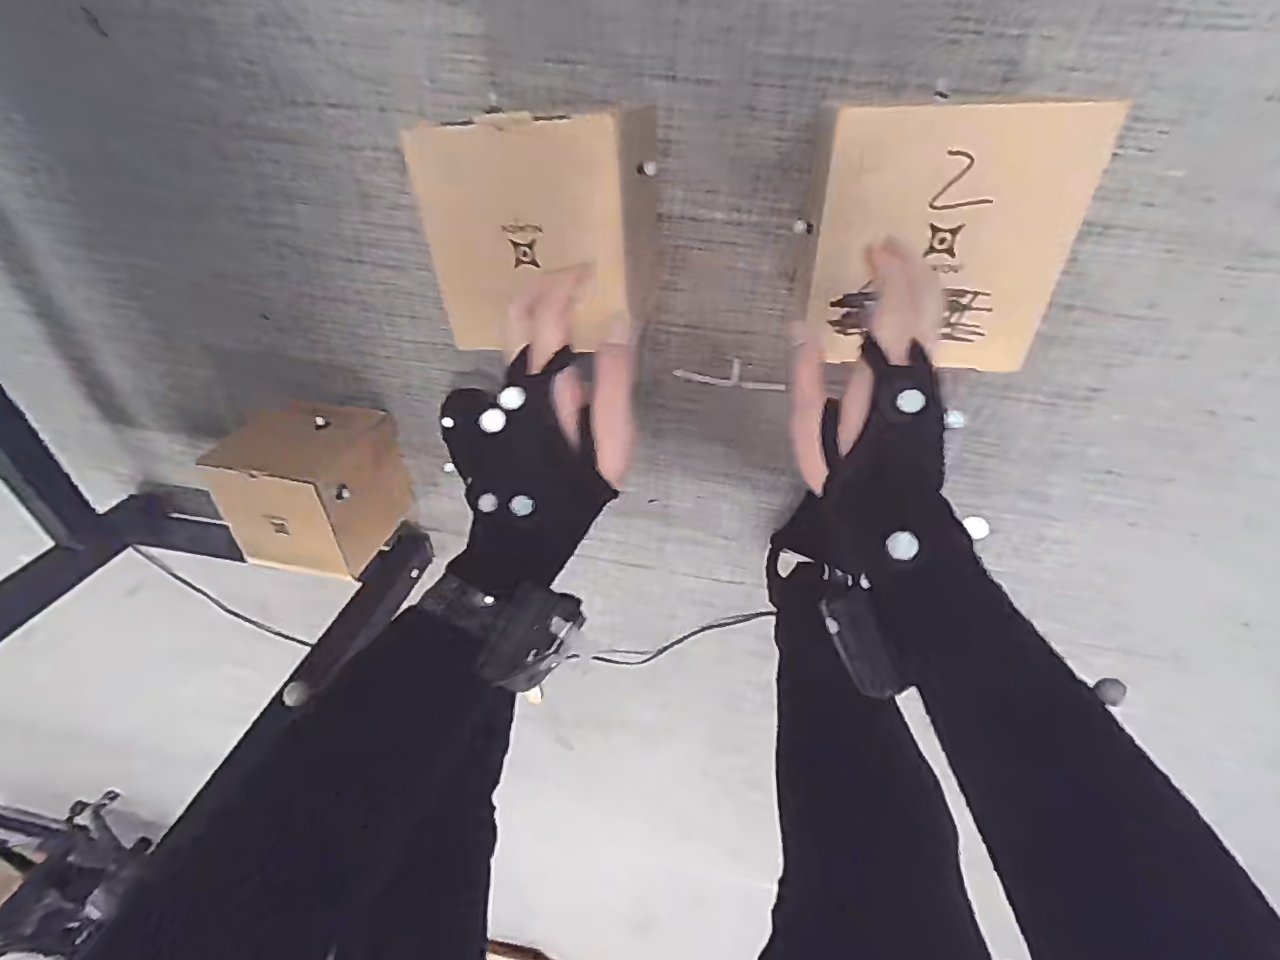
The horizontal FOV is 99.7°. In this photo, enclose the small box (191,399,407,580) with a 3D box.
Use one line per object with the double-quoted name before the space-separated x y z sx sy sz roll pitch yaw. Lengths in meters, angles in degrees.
"small box" -0.455 0.009 0.760 0.168 0.176 0.179 8 126 8
